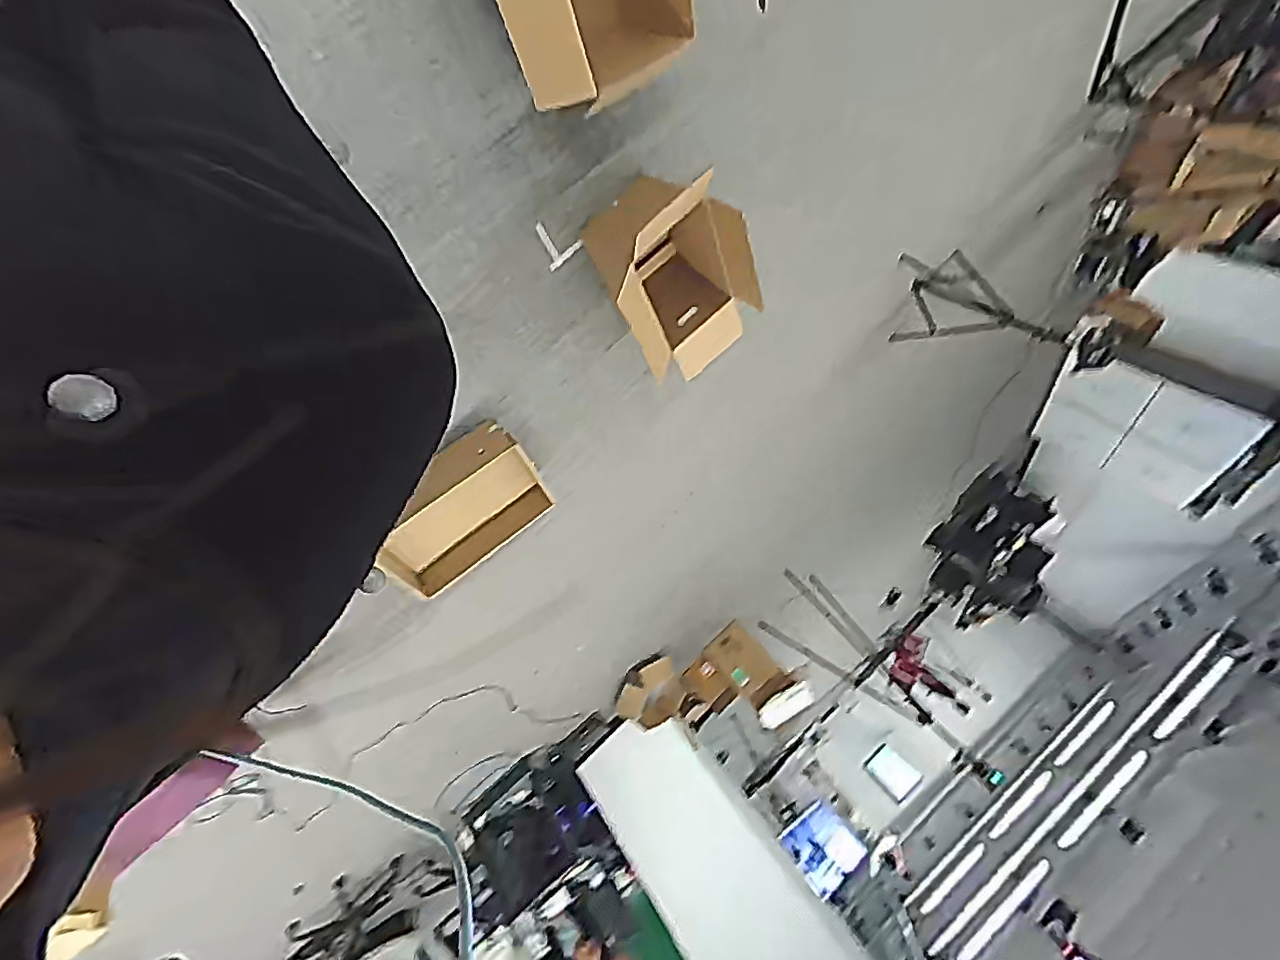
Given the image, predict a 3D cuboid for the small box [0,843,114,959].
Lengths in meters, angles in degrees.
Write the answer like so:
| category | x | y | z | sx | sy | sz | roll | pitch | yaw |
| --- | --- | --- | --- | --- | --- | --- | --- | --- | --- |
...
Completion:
| category | x | y | z | sx | sy | sz | roll | pitch | yaw |
| --- | --- | --- | --- | --- | --- | --- | --- | --- | --- |
| small box | -1.105 | 0.786 | 0.965 | 0.179 | 0.176 | 0.168 | -39 | 143 | -10 |
